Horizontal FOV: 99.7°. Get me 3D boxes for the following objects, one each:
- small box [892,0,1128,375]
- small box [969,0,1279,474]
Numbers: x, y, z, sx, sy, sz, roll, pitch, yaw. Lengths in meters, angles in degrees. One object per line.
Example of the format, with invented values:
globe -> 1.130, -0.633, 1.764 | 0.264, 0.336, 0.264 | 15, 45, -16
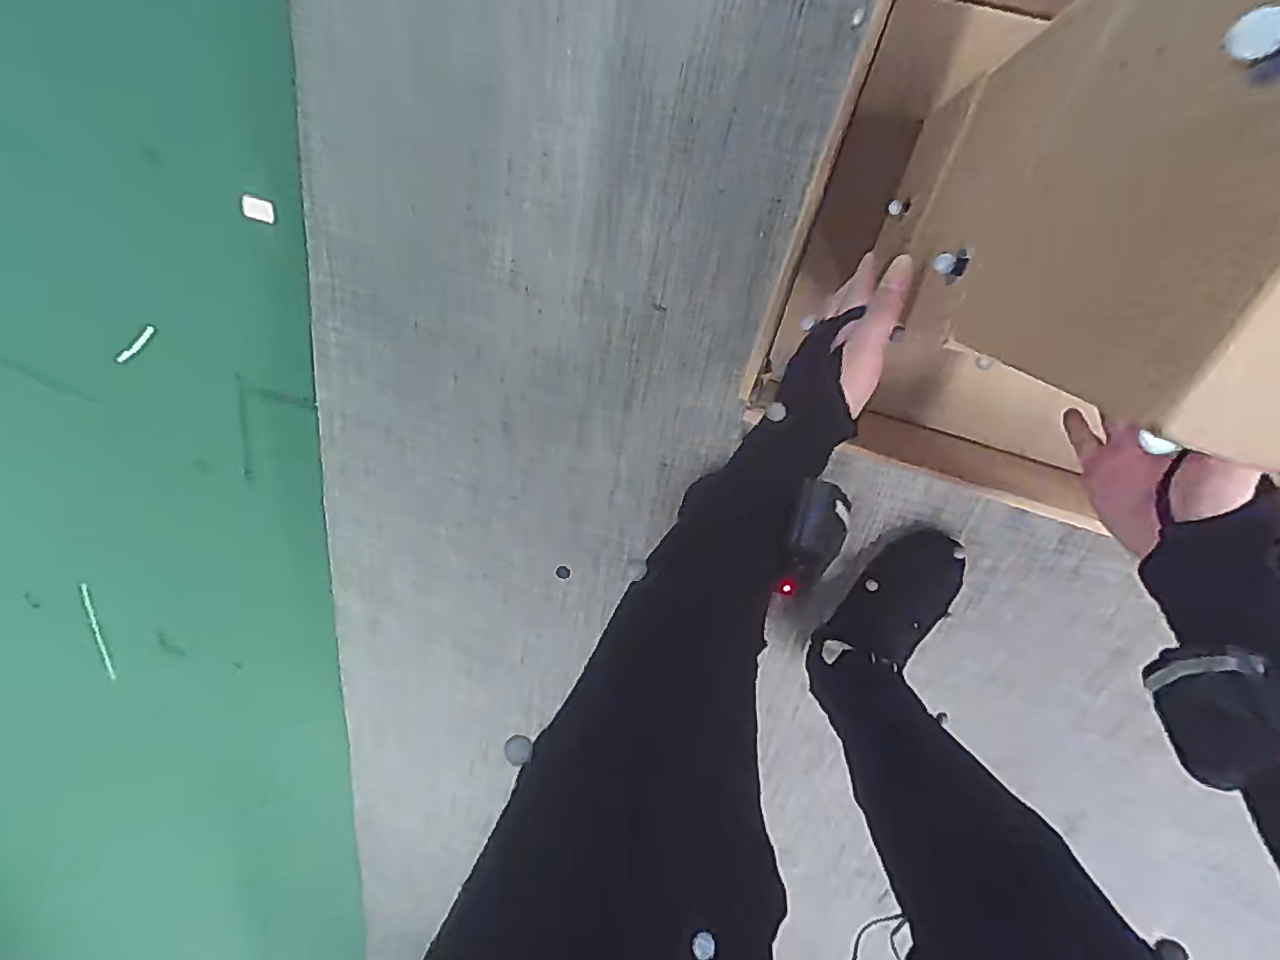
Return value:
small box -> 0.274, -0.151, 0.319 | 0.168, 0.176, 0.179 | 19, 116, 5
small box -> 0.243, -0.091, 0.168 | 0.168, 0.176, 0.179 | 19, 116, 5
